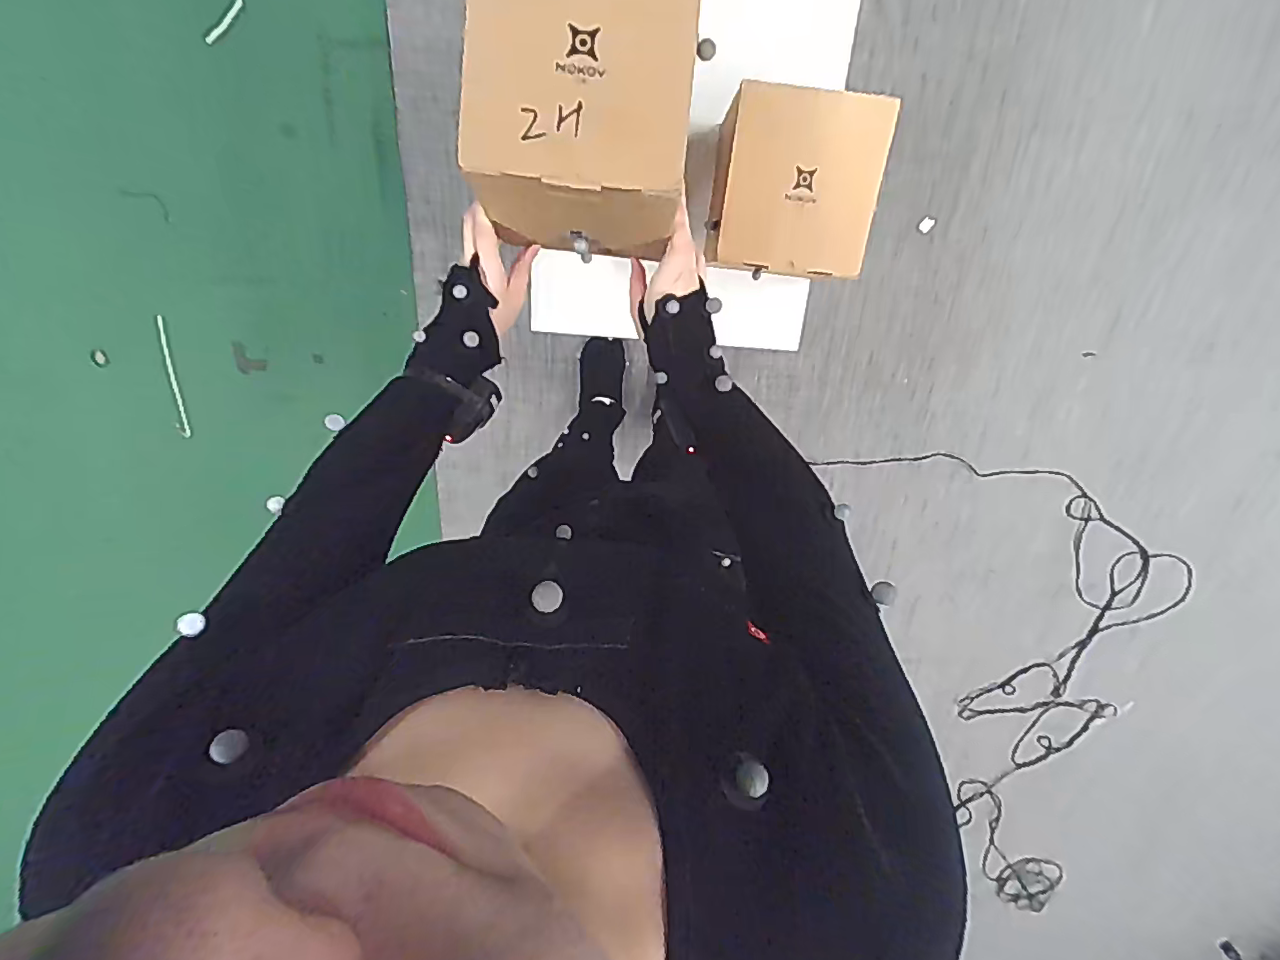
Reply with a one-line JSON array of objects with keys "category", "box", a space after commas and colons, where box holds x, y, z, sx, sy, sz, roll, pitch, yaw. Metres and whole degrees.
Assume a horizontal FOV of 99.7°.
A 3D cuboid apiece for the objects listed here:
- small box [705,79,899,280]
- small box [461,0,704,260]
[{"category": "small box", "box": [0.176, -0.345, 0.653, 0.168, 0.176, 0.179, 6, 112, -1]}, {"category": "small box", "box": [-0.044, -0.312, 0.468, 0.168, 0.176, 0.179, 6, 97, -2]}]
